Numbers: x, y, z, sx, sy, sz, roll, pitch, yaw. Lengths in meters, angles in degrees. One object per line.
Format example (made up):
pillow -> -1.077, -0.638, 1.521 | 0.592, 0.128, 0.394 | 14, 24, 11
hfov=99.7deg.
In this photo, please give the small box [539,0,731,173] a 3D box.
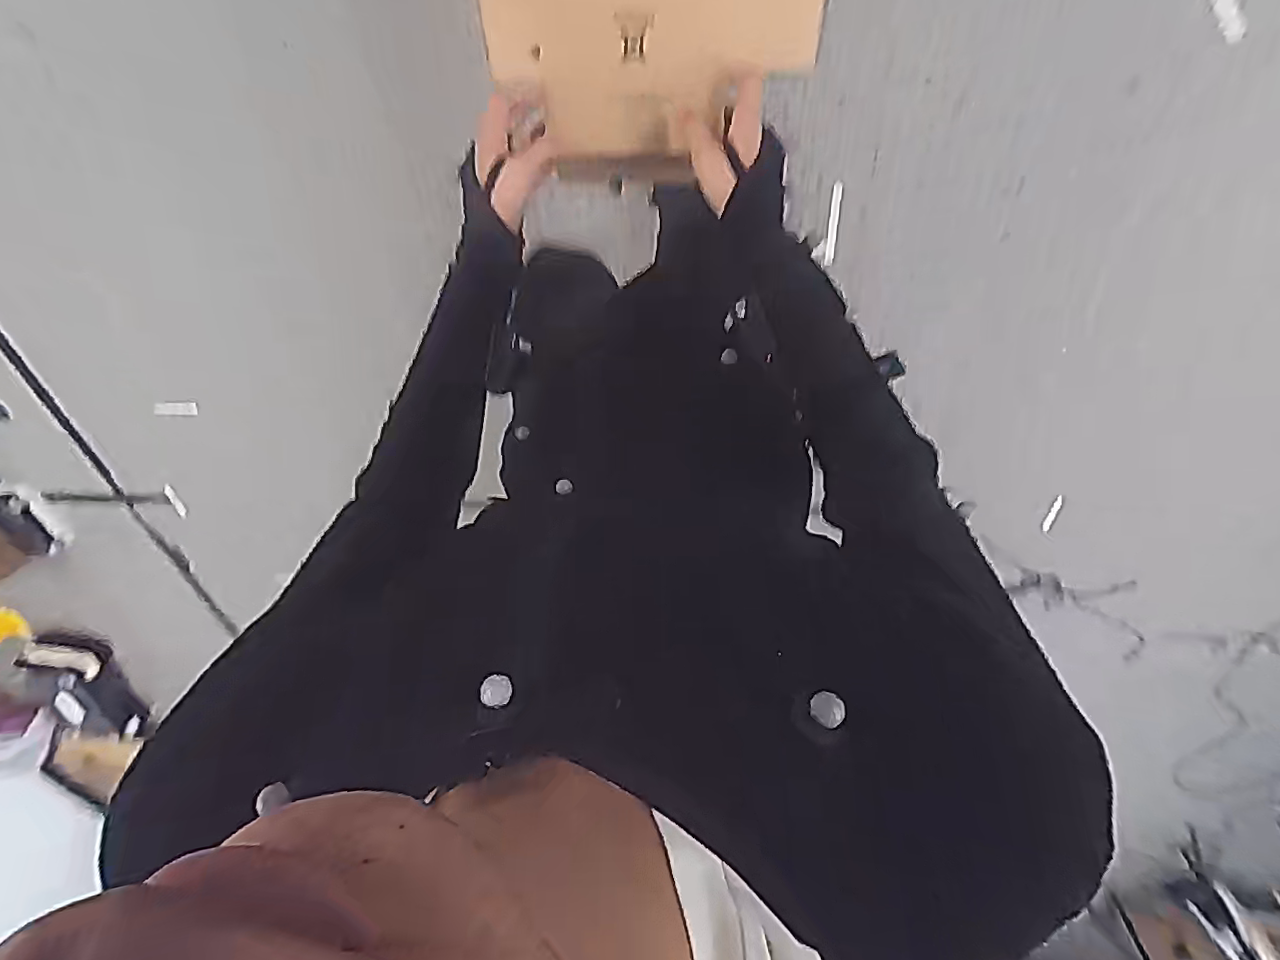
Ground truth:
small box -> -0.010, -0.416, 0.529 | 0.168, 0.176, 0.179 | -3, 111, -3
